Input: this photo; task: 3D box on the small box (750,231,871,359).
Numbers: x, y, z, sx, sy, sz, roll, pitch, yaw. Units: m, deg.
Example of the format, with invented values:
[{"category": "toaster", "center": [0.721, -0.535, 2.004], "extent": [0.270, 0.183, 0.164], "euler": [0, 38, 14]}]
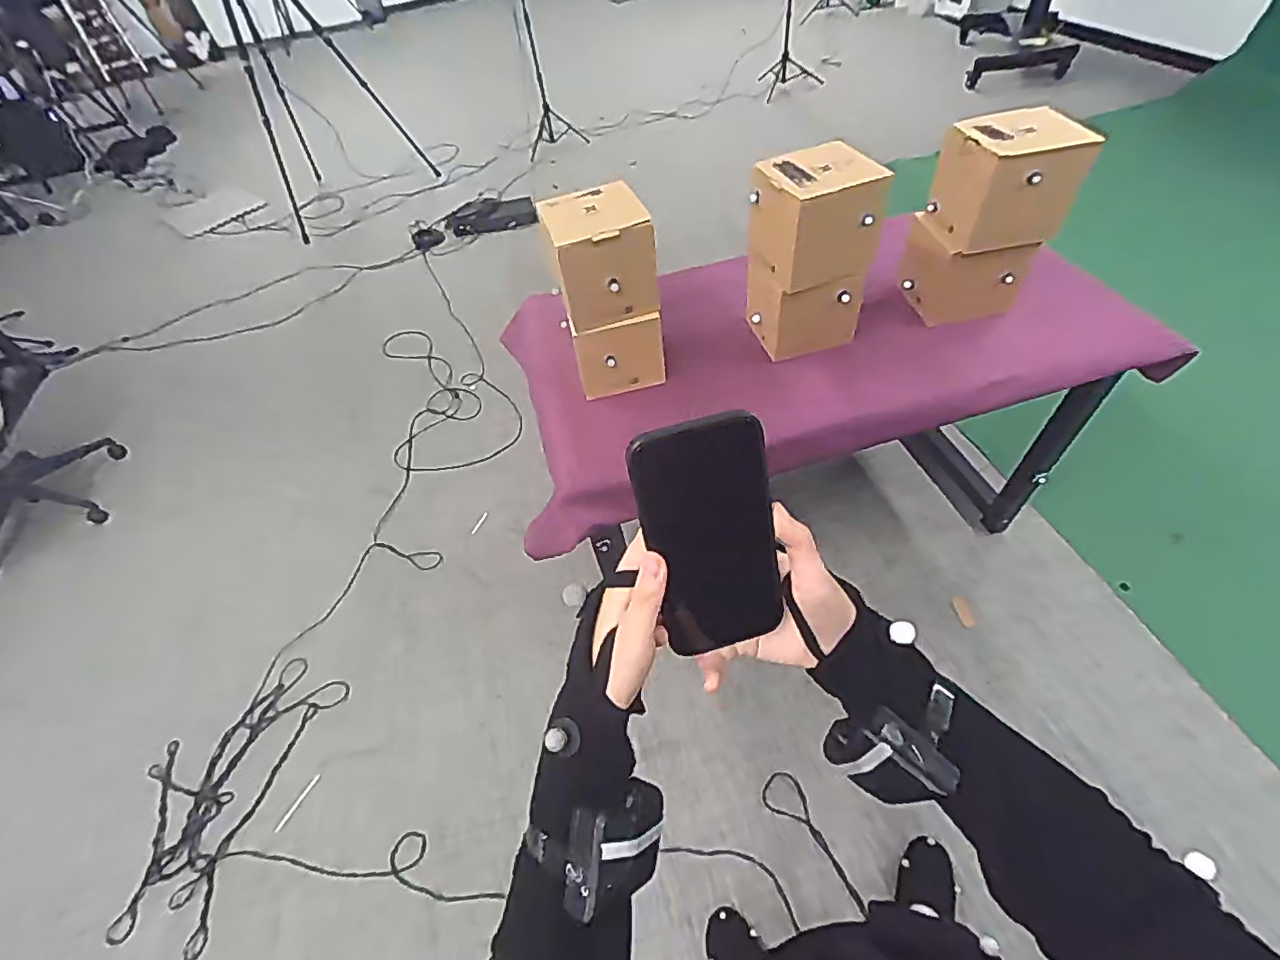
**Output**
[{"category": "small box", "center": [0.335, -0.374, 1.104], "extent": [0.179, 0.176, 0.168], "euler": [-14, 51, -3]}]

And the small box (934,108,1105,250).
[{"category": "small box", "center": [0.661, -0.538, 0.976], "extent": [0.179, 0.176, 0.168], "euler": [-9, 51, 0]}]

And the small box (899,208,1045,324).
[{"category": "small box", "center": [0.668, -0.447, 1.113], "extent": [0.179, 0.176, 0.168], "euler": [-10, 51, 1]}]

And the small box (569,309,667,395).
[{"category": "small box", "center": [-0.047, -0.292, 1.099], "extent": [0.168, 0.176, 0.179], "euler": [-14, 51, -2]}]

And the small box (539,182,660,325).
[{"category": "small box", "center": [-0.068, -0.400, 0.976], "extent": [0.168, 0.176, 0.179], "euler": [-17, 52, -6]}]
